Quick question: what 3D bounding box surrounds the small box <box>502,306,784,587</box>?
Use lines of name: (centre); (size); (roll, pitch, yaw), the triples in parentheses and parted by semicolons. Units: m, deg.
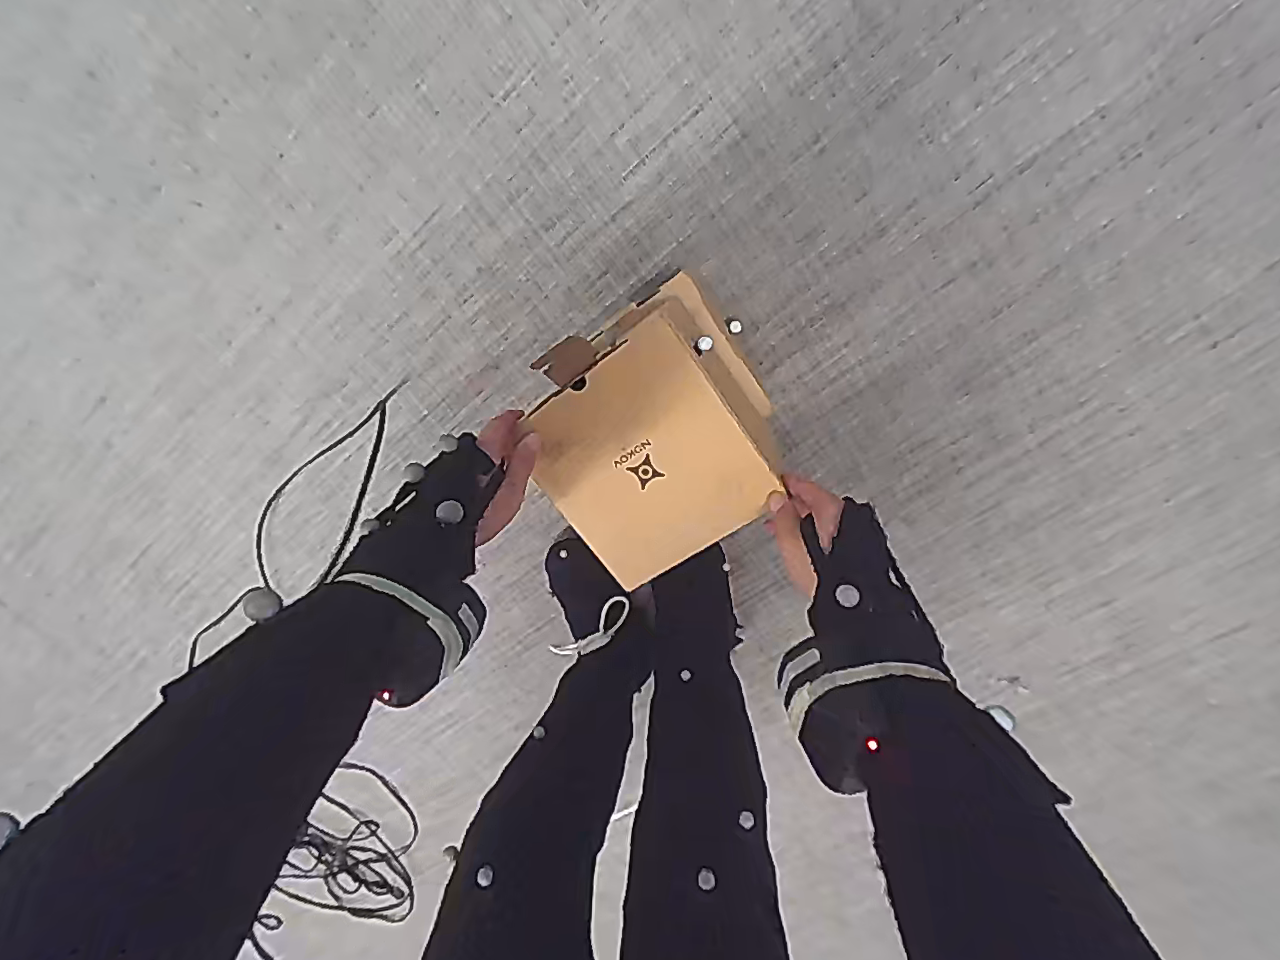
small box: (0.013, -0.041, 0.502); (0.168, 0.176, 0.179); (-33, 103, 19)

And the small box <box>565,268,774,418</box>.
small box: (0.040, -0.129, 0.656); (0.168, 0.176, 0.179); (-32, 102, 17)
